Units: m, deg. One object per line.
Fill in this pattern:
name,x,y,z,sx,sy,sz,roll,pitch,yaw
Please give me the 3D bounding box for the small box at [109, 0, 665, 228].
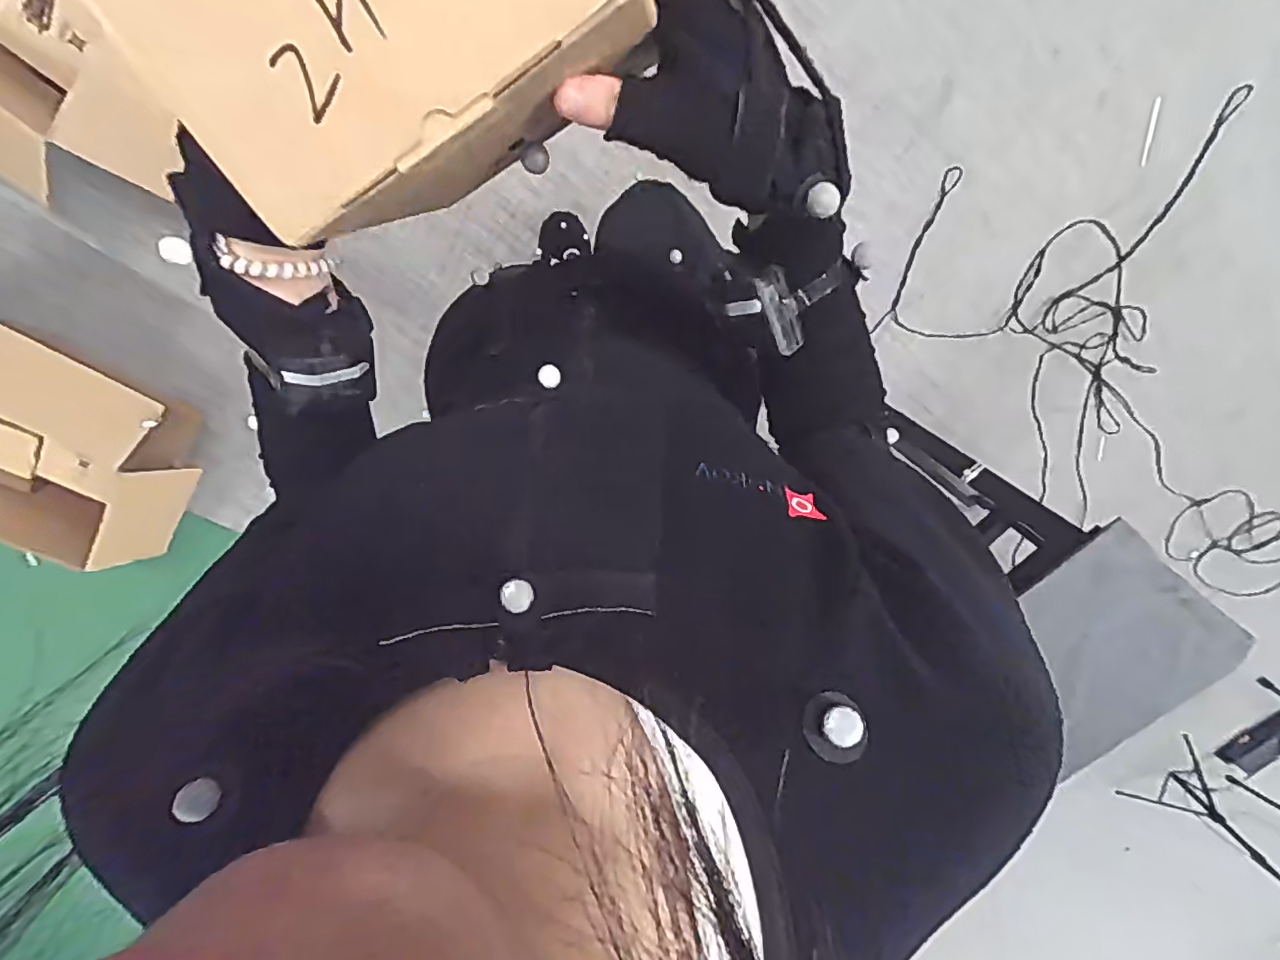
small box,-0.100,-0.234,0.220,0.168,0.176,0.179,-23,118,18
